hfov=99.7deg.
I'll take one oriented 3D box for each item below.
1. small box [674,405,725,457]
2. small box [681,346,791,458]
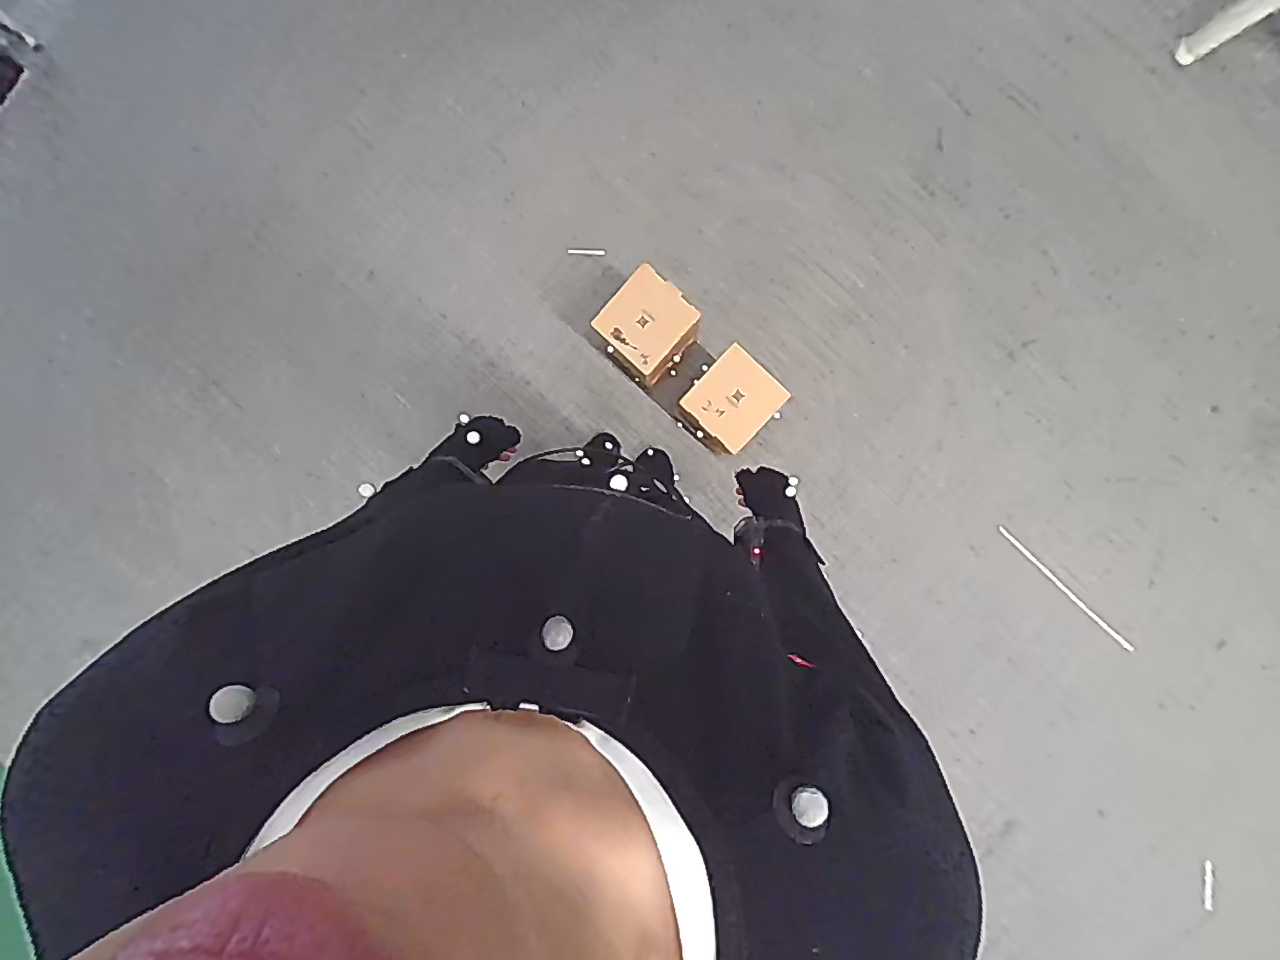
[{"bbox_3d":[0.203,-0.173,1.375,0.168,0.176,0.179,43,93,0],"label":"small box"},{"bbox_3d":[0.202,-0.168,1.211,0.168,0.176,0.179,43,94,0],"label":"small box"}]
